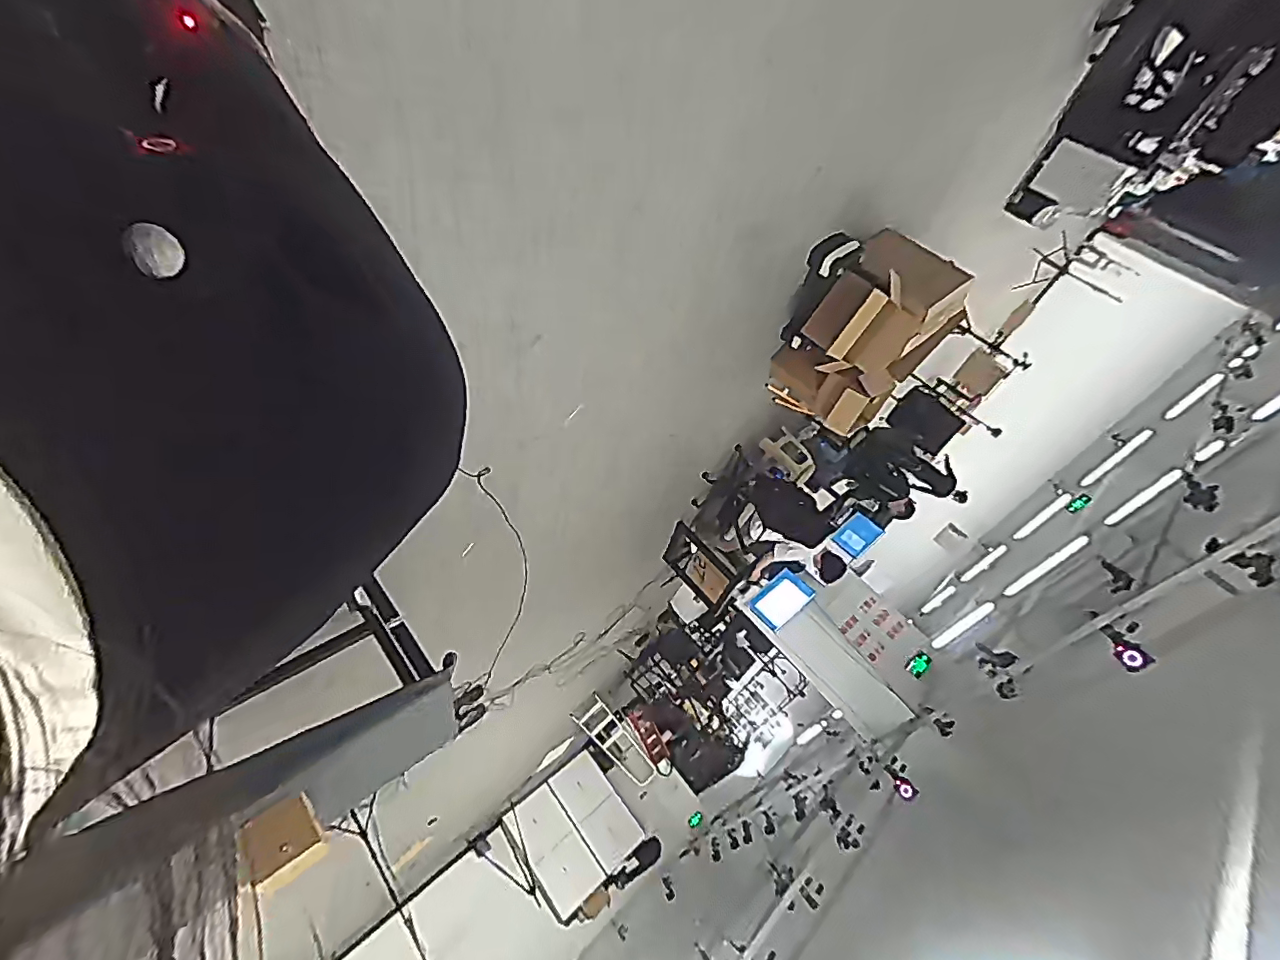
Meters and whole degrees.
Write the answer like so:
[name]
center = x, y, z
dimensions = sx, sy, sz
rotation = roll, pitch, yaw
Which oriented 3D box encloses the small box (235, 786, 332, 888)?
[small box]
center = -1.035, 1.035, 1.576
dimensions = 0.179, 0.176, 0.168
rotation = -27, 151, -35
